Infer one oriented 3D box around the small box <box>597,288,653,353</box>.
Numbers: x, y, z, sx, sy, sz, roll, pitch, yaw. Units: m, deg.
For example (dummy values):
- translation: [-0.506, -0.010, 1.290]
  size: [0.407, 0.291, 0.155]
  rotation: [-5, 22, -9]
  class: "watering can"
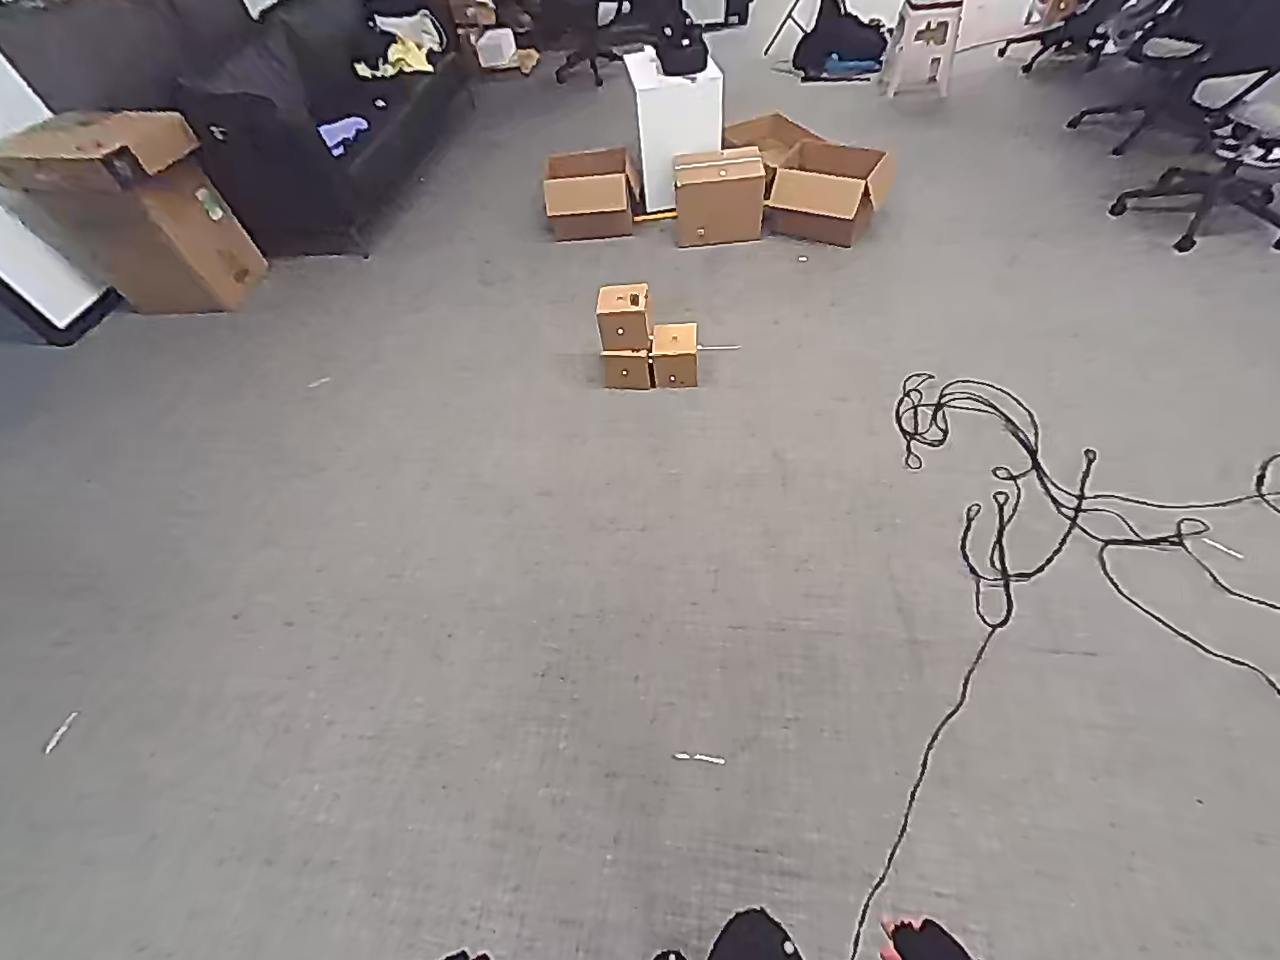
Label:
- translation: [-0.048, -0.583, 1.985]
  size: [0.179, 0.176, 0.168]
  rotation: [-1, 52, 8]
  class: "small box"
